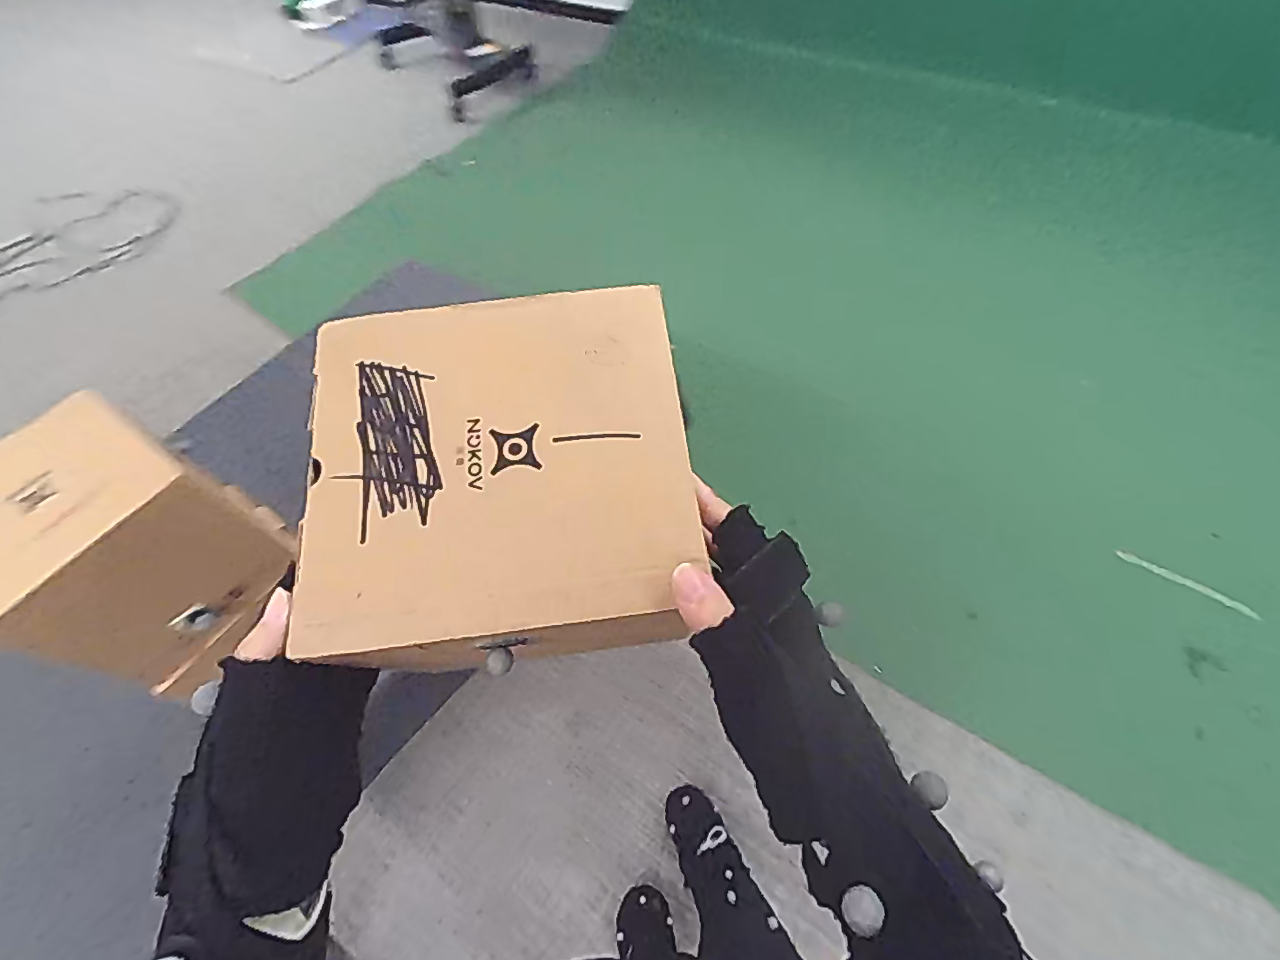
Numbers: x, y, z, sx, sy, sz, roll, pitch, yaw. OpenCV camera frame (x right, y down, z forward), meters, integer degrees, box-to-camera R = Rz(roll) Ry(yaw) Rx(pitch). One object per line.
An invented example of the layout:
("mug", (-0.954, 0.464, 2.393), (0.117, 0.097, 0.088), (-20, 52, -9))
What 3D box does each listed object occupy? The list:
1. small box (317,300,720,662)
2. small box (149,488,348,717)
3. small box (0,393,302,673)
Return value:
("small box", (-0.057, 0.016, 0.332), (0.179, 0.176, 0.168), (-6, 70, -2))
("small box", (-0.458, 0.148, 0.643), (0.168, 0.176, 0.179), (29, 63, 21))
("small box", (-0.477, 0.056, 0.509), (0.179, 0.176, 0.168), (28, 65, 19))
